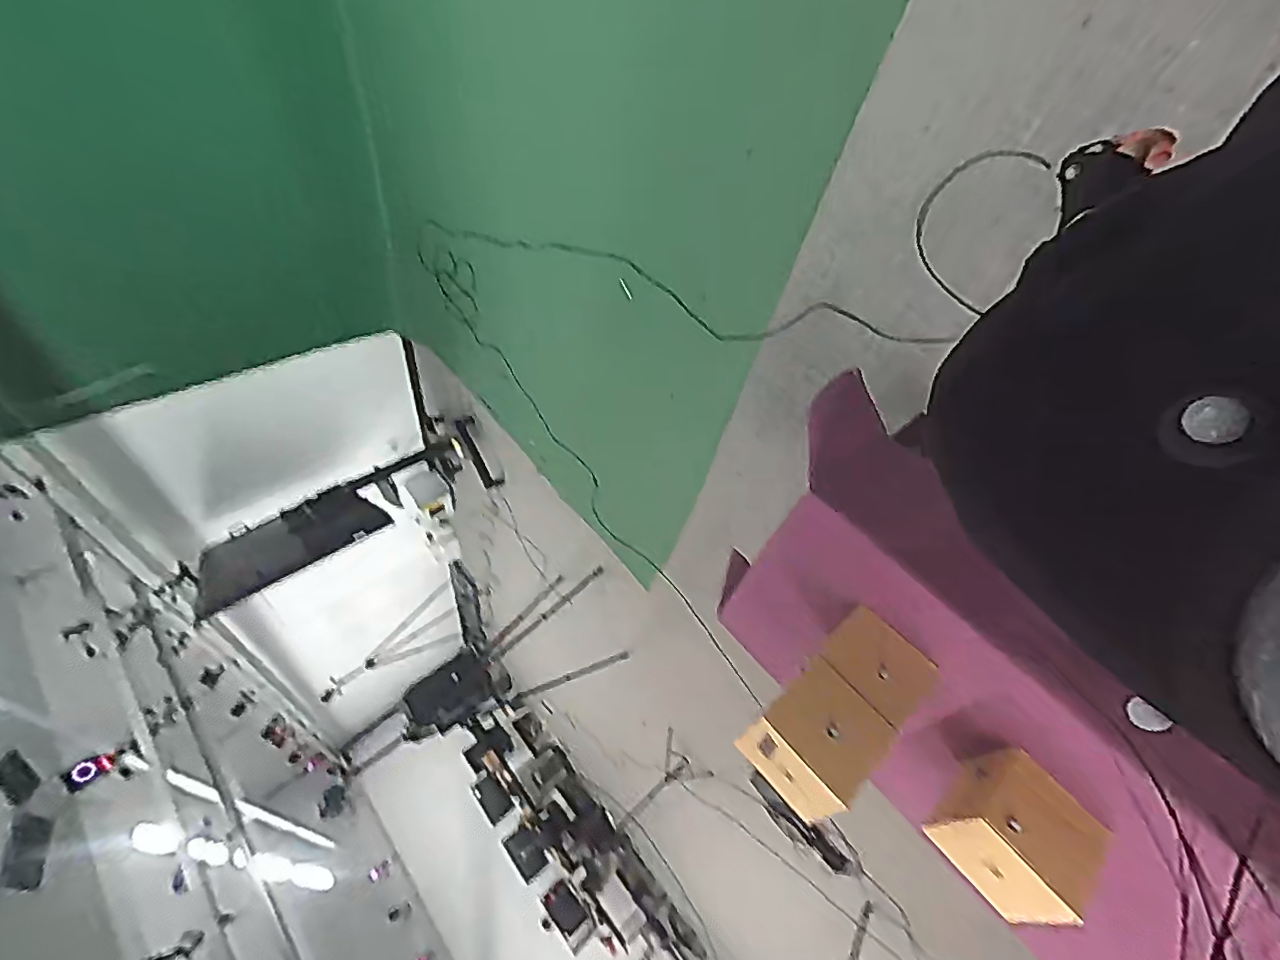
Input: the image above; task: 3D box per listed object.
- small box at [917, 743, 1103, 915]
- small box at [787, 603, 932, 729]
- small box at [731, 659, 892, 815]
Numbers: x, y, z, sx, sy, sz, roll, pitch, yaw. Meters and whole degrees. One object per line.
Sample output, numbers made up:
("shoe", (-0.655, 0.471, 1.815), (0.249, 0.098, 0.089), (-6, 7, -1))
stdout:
("small box", (0.632, 0.593, 0.928), (0.179, 0.176, 0.168), (47, 147, 22))
("small box", (0.418, 0.373, 1.042), (0.179, 0.176, 0.168), (43, 145, 24))
("small box", (0.298, 0.443, 0.954), (0.179, 0.176, 0.168), (44, 146, 23))
